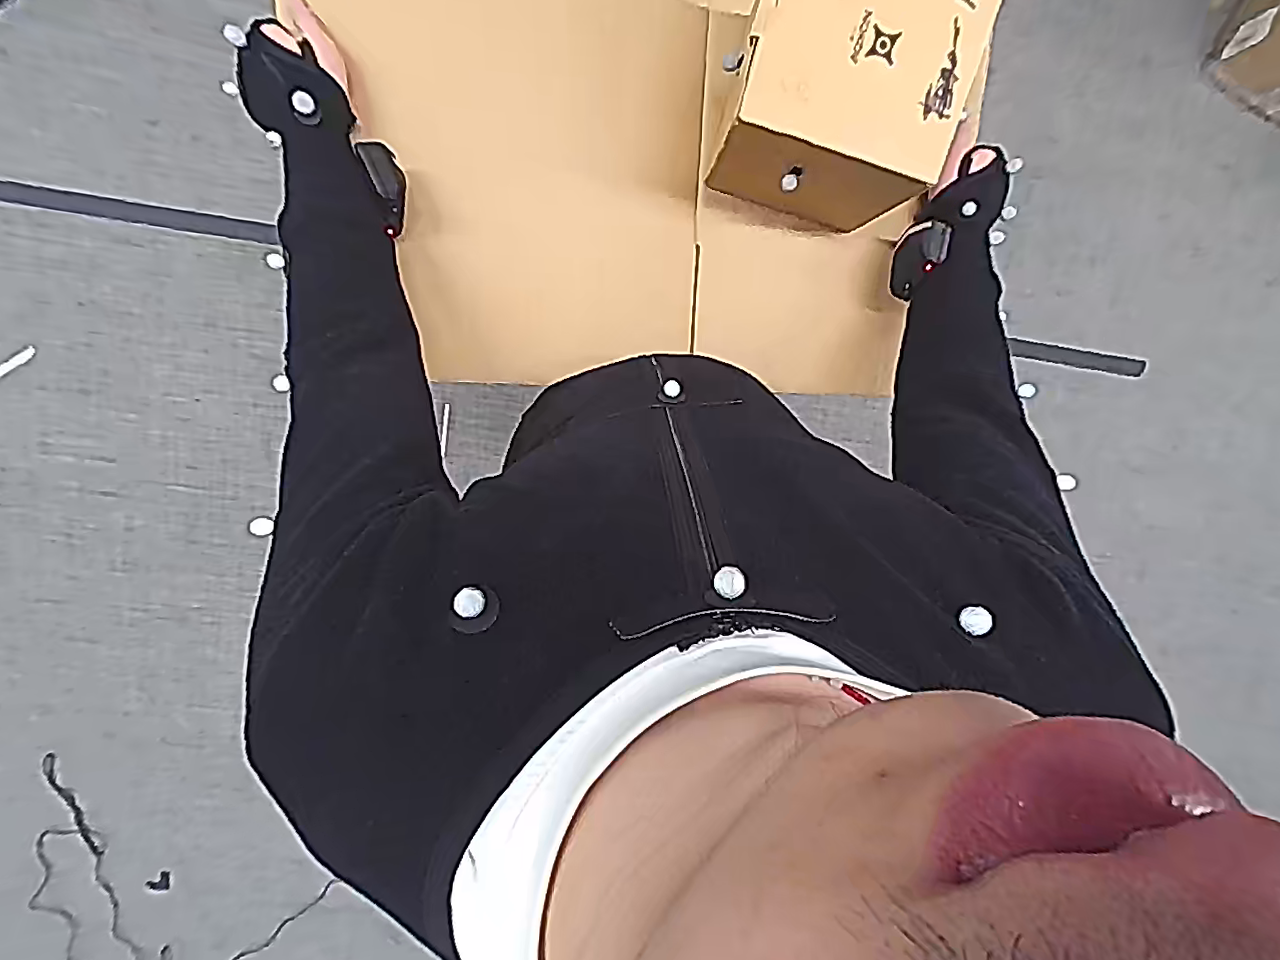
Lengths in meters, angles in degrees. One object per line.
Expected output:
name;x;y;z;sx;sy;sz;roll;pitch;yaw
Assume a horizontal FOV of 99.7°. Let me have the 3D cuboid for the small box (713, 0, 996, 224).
small box;0.179;-0.360;0.503;0.179;0.176;0.168;15;101;-4
